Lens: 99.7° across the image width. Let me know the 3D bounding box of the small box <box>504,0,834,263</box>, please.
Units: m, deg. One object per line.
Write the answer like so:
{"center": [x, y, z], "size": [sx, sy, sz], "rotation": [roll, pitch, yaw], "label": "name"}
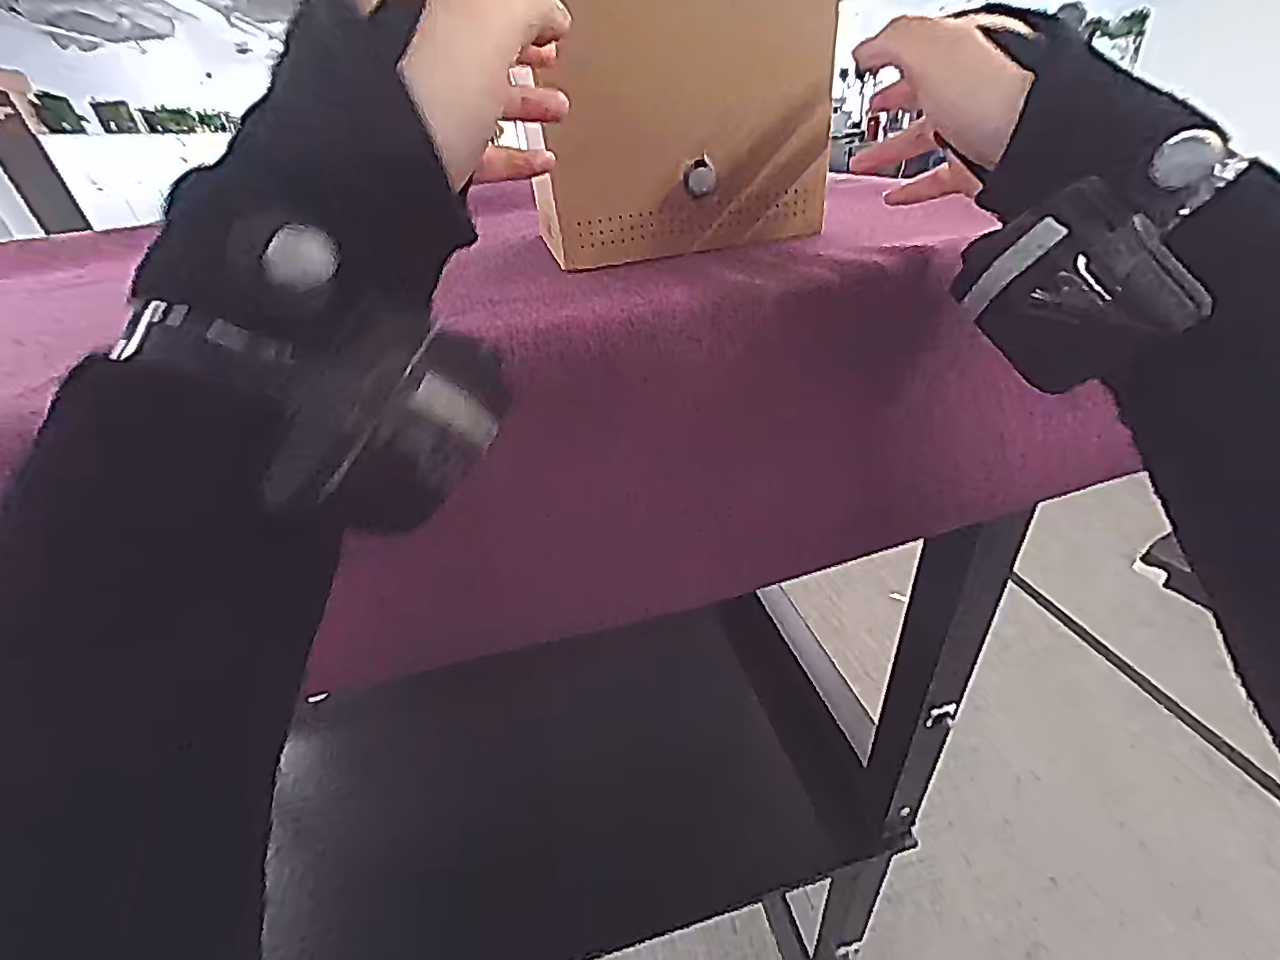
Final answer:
{"center": [0.010, -0.257, 0.364], "size": [0.179, 0.176, 0.168], "rotation": [-12, 33, -9], "label": "small box"}
